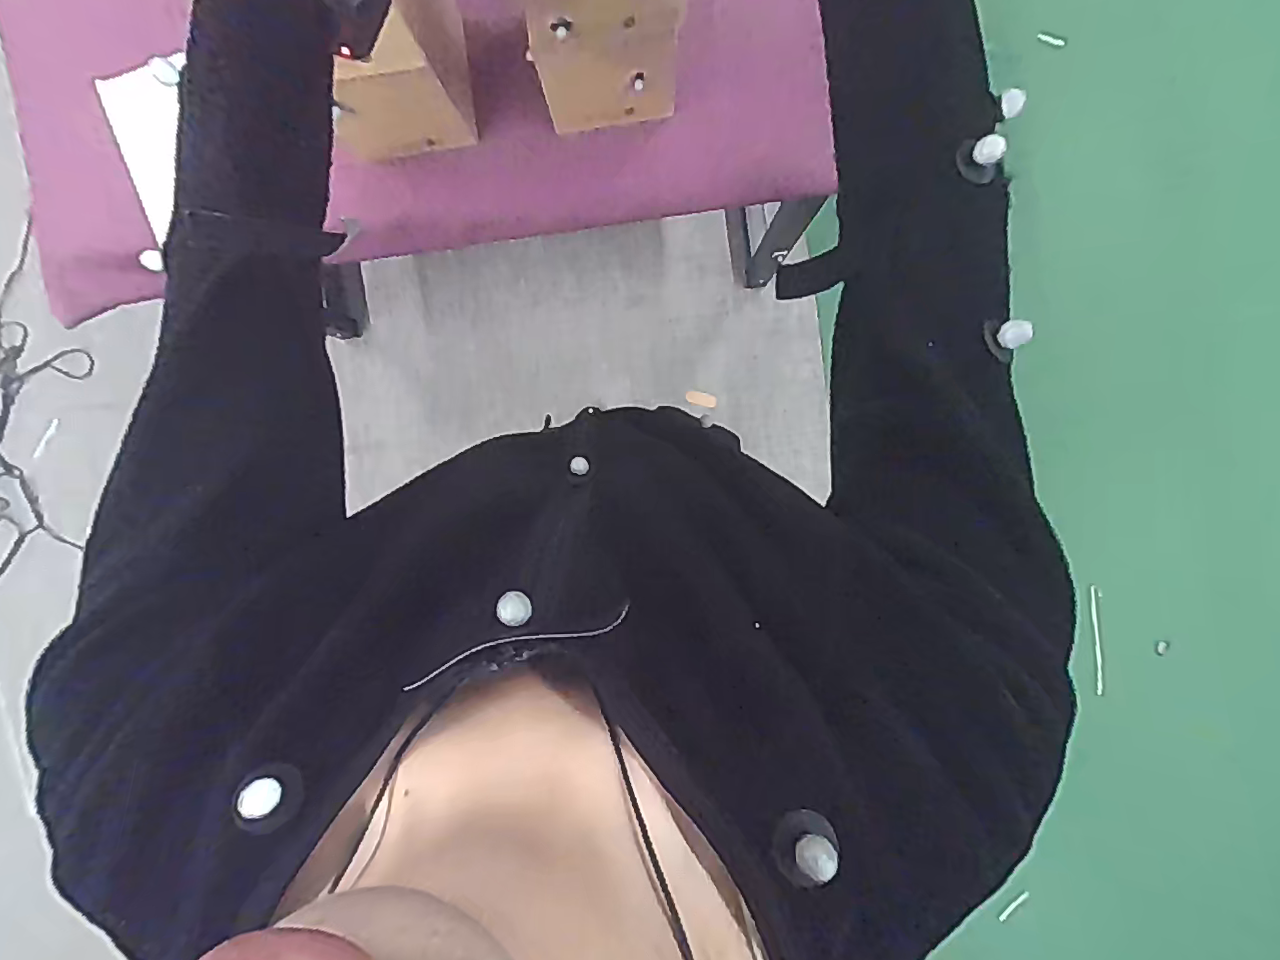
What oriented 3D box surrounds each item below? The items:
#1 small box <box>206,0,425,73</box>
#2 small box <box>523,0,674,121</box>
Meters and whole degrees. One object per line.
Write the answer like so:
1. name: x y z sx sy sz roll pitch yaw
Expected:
1. small box: -0.320 -0.523 0.507 0.168 0.176 0.179 -7 93 2
2. small box: -0.048 -0.573 0.662 0.168 0.176 0.179 -7 93 1
